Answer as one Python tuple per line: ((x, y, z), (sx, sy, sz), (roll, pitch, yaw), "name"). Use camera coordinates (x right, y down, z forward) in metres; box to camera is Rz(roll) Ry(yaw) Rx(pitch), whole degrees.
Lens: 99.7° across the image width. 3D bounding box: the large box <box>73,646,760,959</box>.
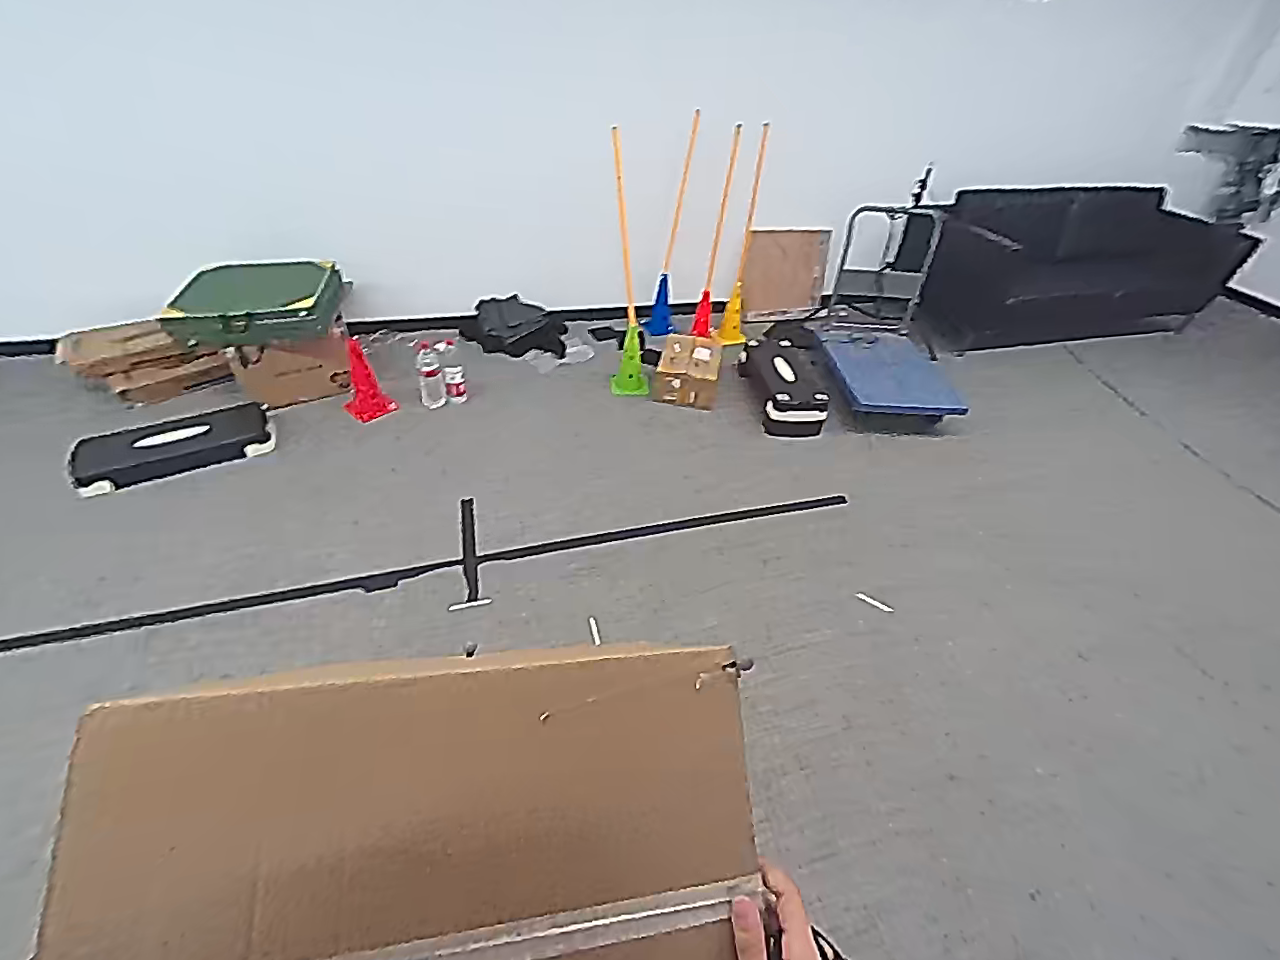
((-0.148, 0.325, 0.471), (0.408, 0.320, 0.320), (-1, 76, -13), "large box")
